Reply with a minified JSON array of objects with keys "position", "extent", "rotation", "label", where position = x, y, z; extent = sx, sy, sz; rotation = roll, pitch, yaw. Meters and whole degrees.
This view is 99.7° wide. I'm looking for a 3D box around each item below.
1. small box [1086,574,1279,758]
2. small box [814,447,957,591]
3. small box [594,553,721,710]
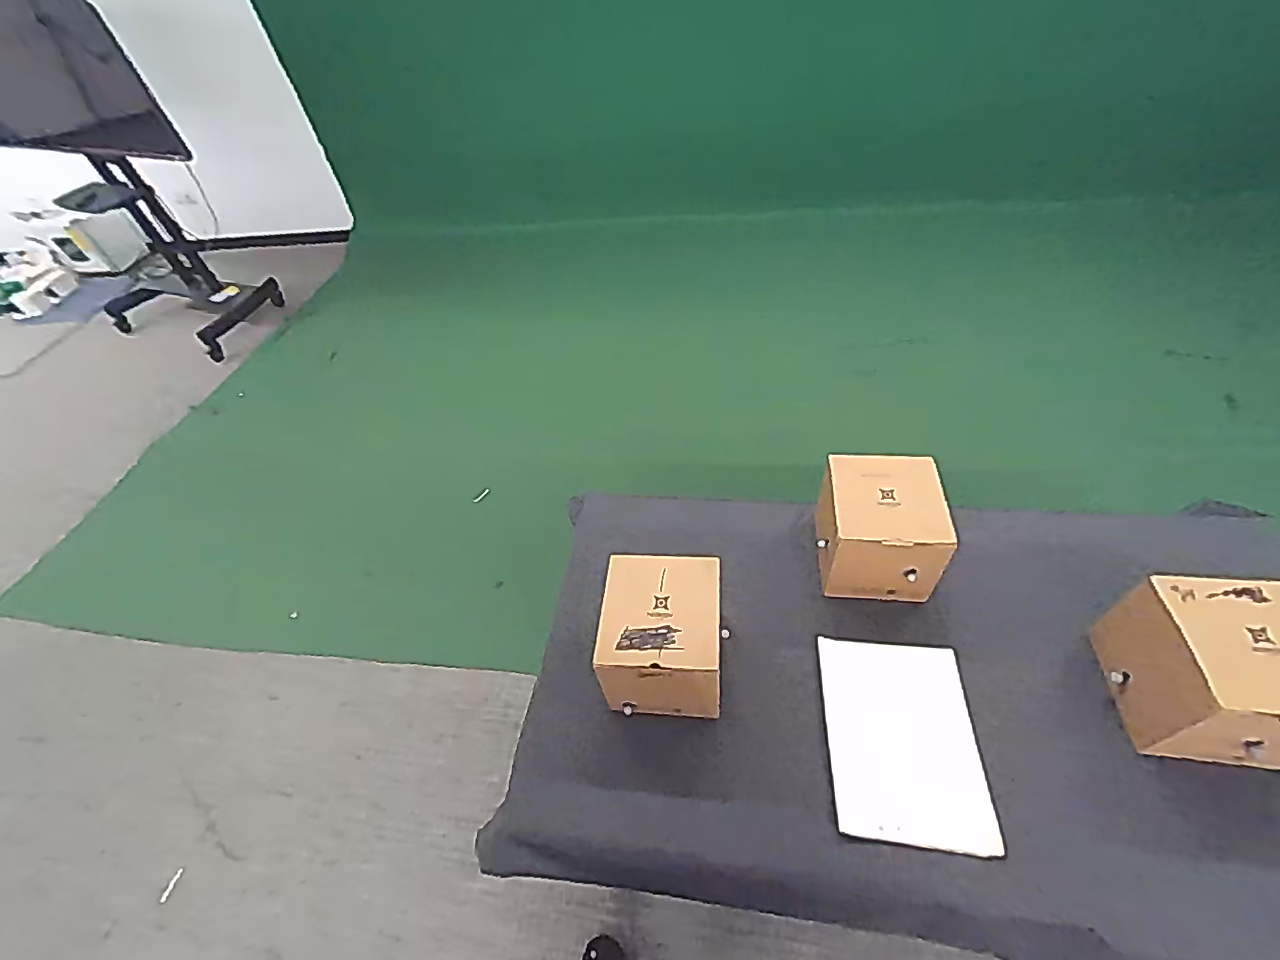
[{"position":[0.735,0.242,0.700],"extent":[0.168,0.176,0.179],"rotation":[2,51,10],"label":"small box"},{"position":[0.386,0.066,0.885],"extent":[0.168,0.176,0.179],"rotation":[2,49,8],"label":"small box"},{"position":[0.037,0.229,0.812],"extent":[0.168,0.176,0.179],"rotation":[1,49,8],"label":"small box"}]
